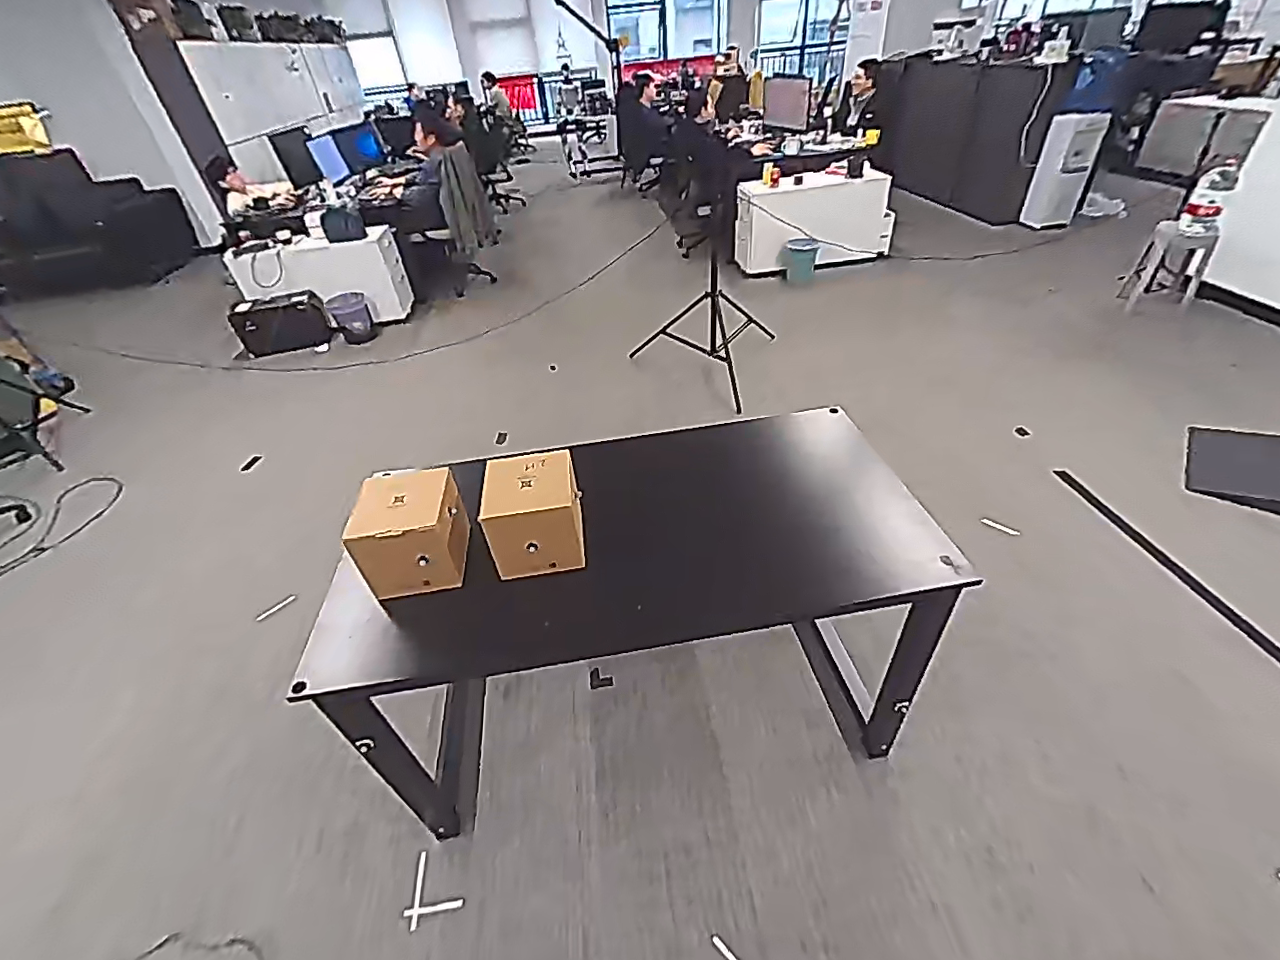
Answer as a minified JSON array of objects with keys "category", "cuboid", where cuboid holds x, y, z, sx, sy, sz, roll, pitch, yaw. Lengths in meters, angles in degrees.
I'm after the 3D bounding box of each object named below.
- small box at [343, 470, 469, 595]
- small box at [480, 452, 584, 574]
[{"category":"small box","cuboid":[-0.443,0.107,1.058,0.168,0.176,0.179,-8,38,-5]},{"category":"small box","cuboid":[-0.206,0.070,1.068,0.168,0.176,0.179,-8,39,-3]}]
